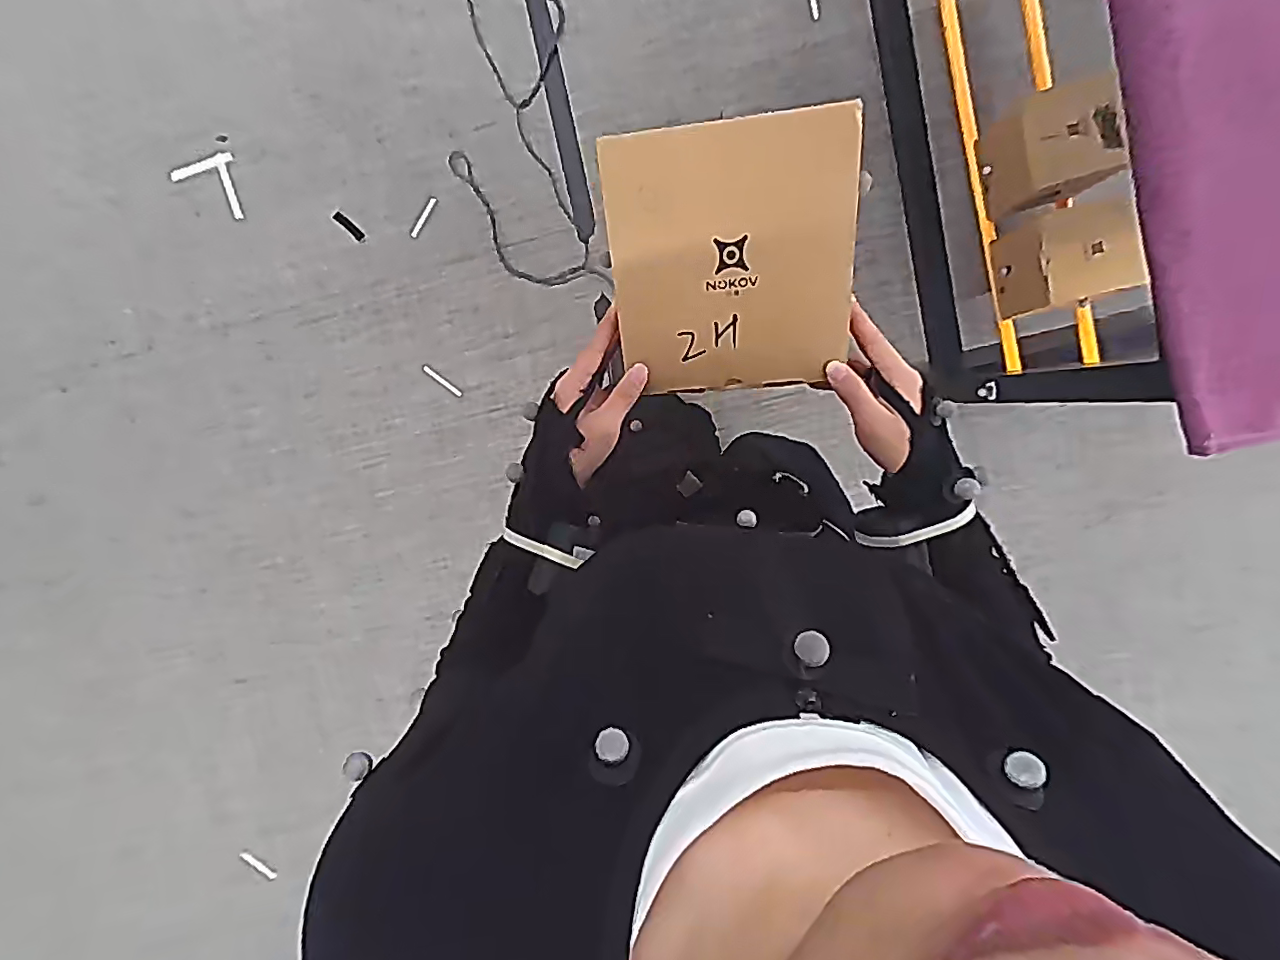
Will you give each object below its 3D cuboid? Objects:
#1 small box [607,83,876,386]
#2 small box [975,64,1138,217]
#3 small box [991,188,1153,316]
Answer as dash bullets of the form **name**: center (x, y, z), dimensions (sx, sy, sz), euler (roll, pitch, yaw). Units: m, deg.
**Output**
- **small box**: center (0.074, -0.186, 0.432), dimensions (0.168, 0.176, 0.179), euler (-2, 117, 8)
- **small box**: center (0.779, -0.631, 1.027), dimensions (0.179, 0.176, 0.168), euler (-13, 96, 8)
- **small box**: center (0.826, -0.430, 1.050), dimensions (0.179, 0.176, 0.168), euler (-14, 96, 8)
